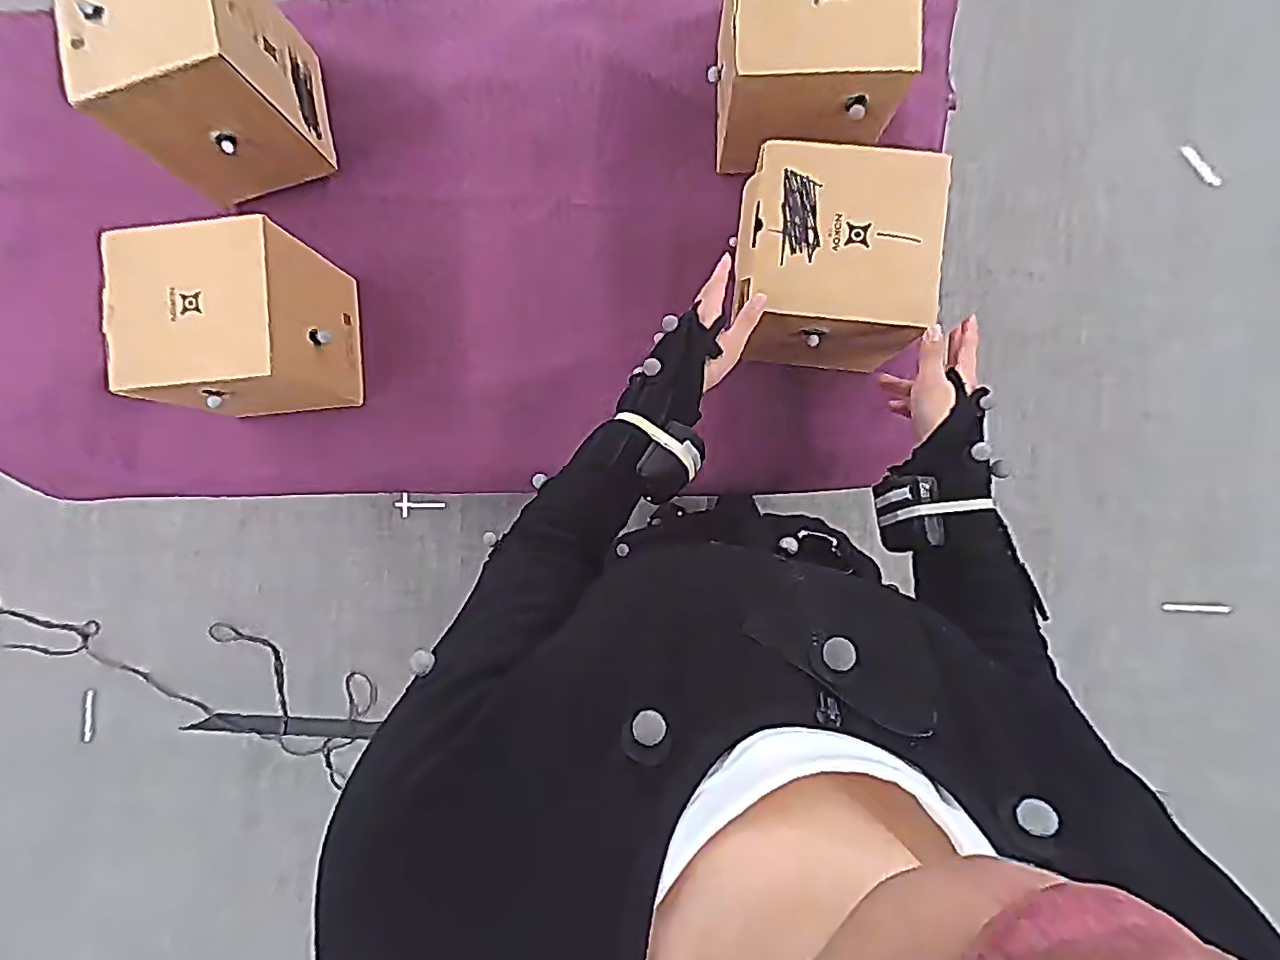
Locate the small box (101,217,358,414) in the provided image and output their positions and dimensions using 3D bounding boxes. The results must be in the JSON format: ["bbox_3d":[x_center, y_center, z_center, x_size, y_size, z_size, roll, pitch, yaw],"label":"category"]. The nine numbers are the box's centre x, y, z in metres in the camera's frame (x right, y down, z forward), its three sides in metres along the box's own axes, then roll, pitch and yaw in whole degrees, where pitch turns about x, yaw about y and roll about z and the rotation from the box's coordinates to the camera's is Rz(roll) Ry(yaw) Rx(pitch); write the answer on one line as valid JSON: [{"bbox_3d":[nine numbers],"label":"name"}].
[{"bbox_3d":[-0.445,-0.173,0.618,0.179,0.176,0.168,-5,88,3],"label":"small box"}]

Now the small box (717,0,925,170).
[{"bbox_3d":[0.180,-0.460,0.582,0.179,0.176,0.168,1,90,3],"label":"small box"}]

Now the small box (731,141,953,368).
[{"bbox_3d":[0.197,-0.224,0.577,0.179,0.176,0.168,7,88,3],"label":"small box"}]
